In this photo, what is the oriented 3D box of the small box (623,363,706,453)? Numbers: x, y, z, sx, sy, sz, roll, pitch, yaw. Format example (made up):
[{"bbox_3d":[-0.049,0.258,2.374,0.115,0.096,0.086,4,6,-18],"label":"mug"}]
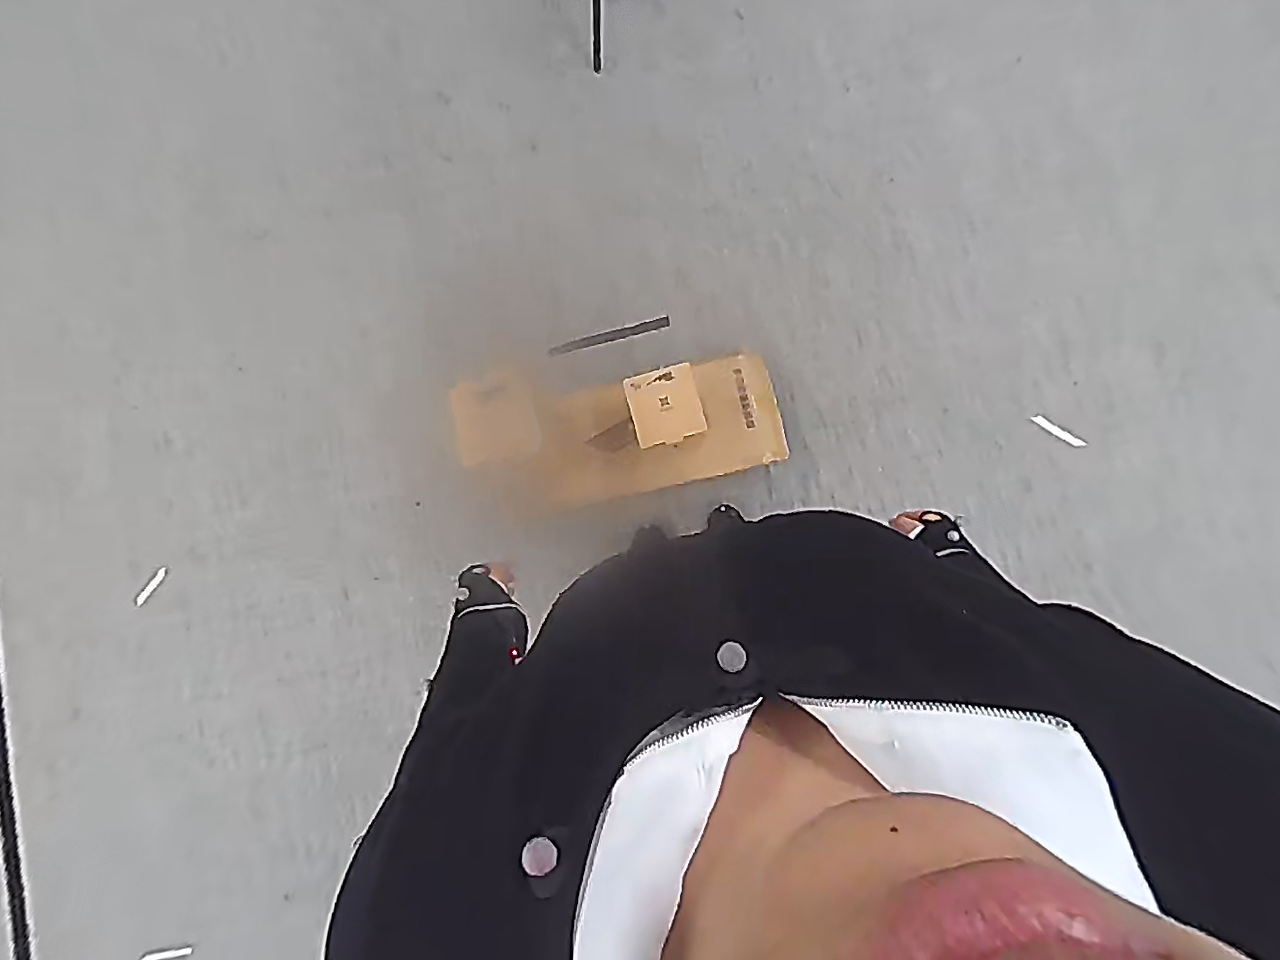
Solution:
[{"bbox_3d":[0.065,-0.170,1.349,0.168,0.176,0.179,-14,85,4],"label":"small box"}]
